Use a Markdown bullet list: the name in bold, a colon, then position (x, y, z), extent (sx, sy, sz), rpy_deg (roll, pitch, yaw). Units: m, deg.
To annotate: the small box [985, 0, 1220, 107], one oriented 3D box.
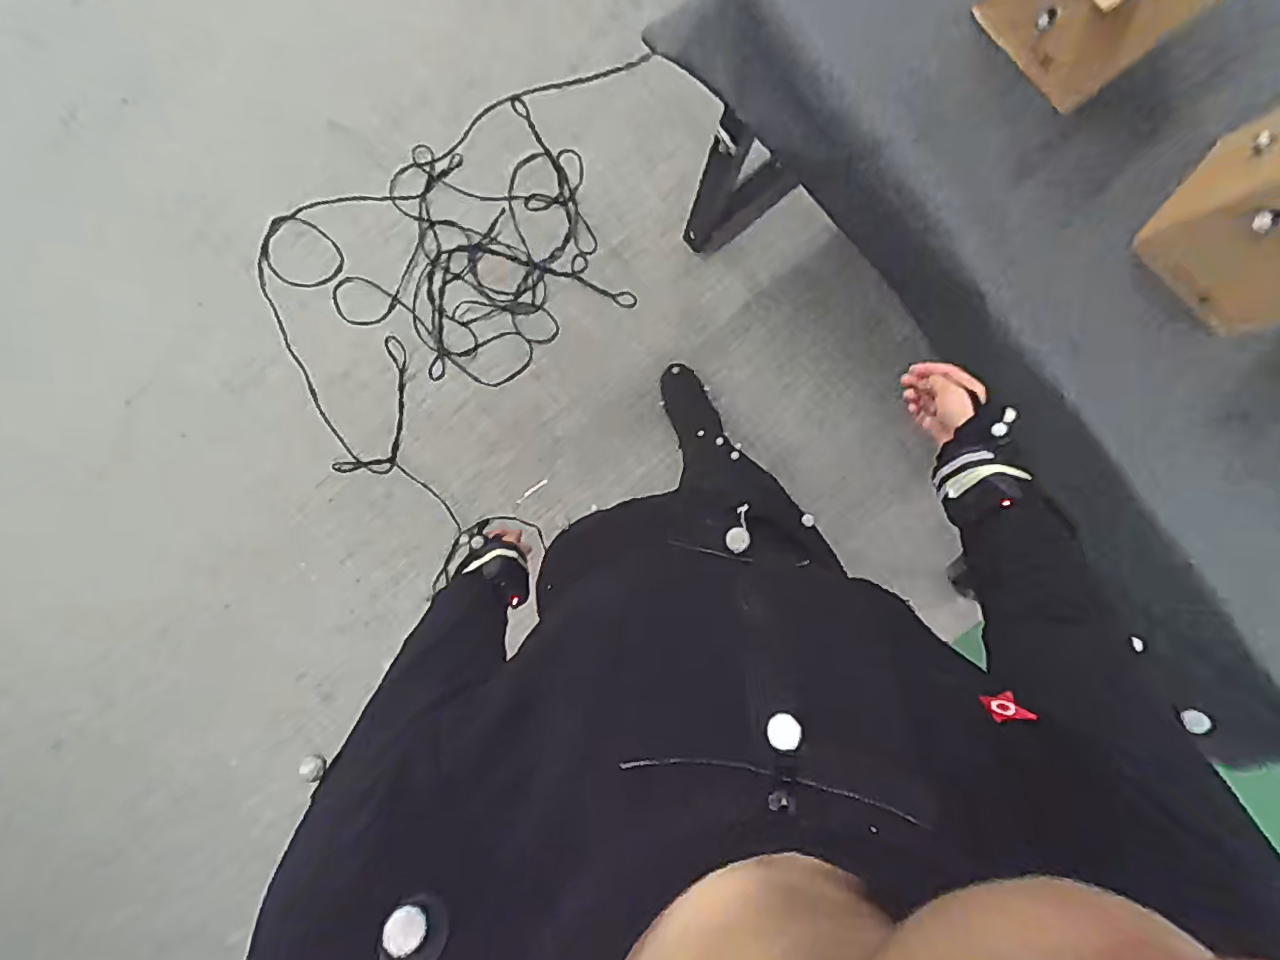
- **small box**: position (0.507, -0.543, 0.548), extent (0.168, 0.176, 0.179), rpy_deg (44, 89, -4)
